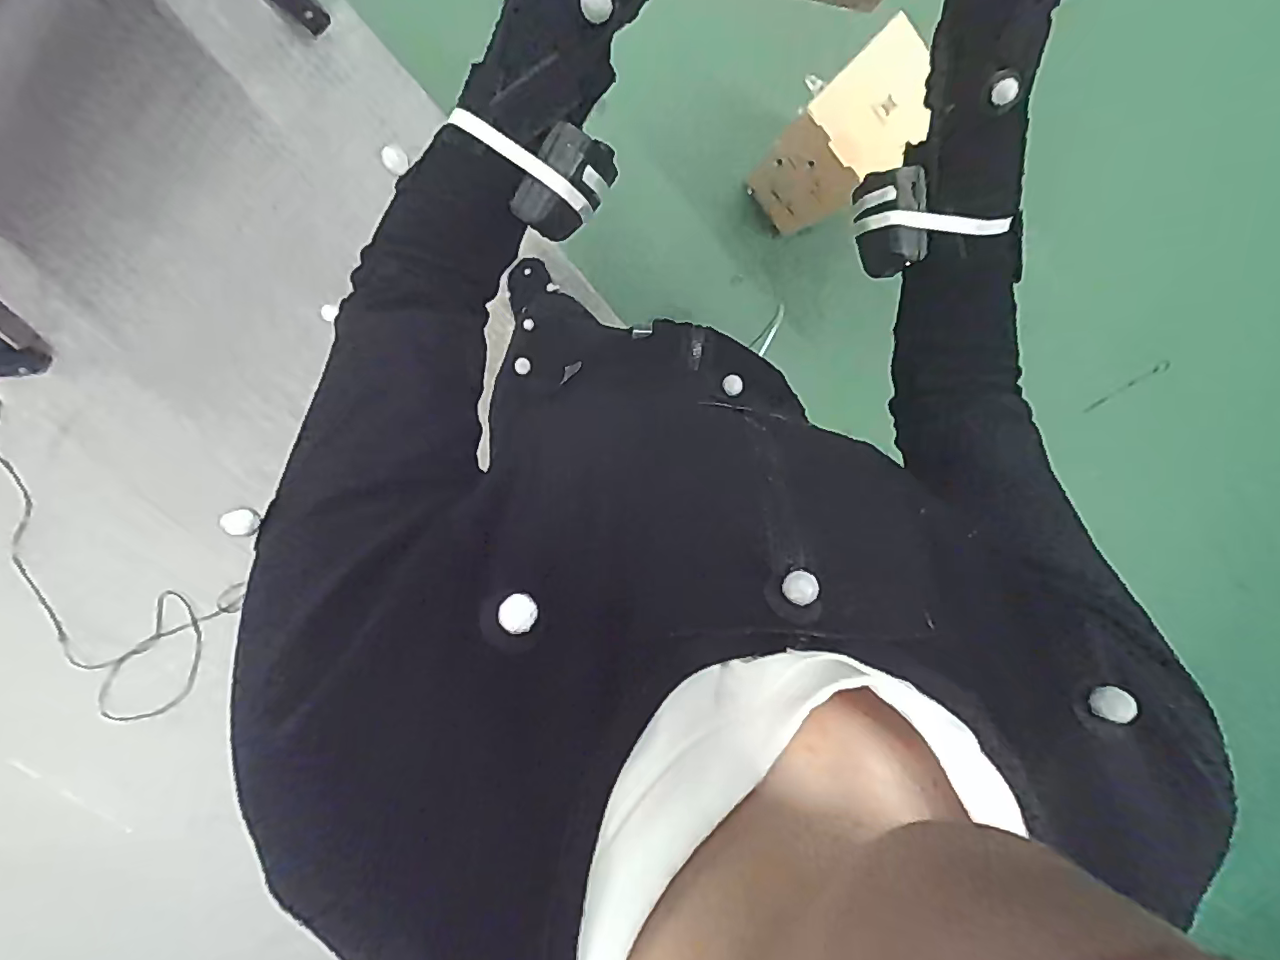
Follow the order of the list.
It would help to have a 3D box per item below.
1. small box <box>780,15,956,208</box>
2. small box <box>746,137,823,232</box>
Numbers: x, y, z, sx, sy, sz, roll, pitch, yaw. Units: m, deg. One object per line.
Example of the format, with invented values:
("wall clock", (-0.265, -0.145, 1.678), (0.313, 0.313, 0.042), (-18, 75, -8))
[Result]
("small box", (0.358, -0.582, 0.884), (0.179, 0.176, 0.168), (-42, 104, 12))
("small box", (0.353, -0.678, 1.197), (0.179, 0.176, 0.168), (-39, 105, 11))
